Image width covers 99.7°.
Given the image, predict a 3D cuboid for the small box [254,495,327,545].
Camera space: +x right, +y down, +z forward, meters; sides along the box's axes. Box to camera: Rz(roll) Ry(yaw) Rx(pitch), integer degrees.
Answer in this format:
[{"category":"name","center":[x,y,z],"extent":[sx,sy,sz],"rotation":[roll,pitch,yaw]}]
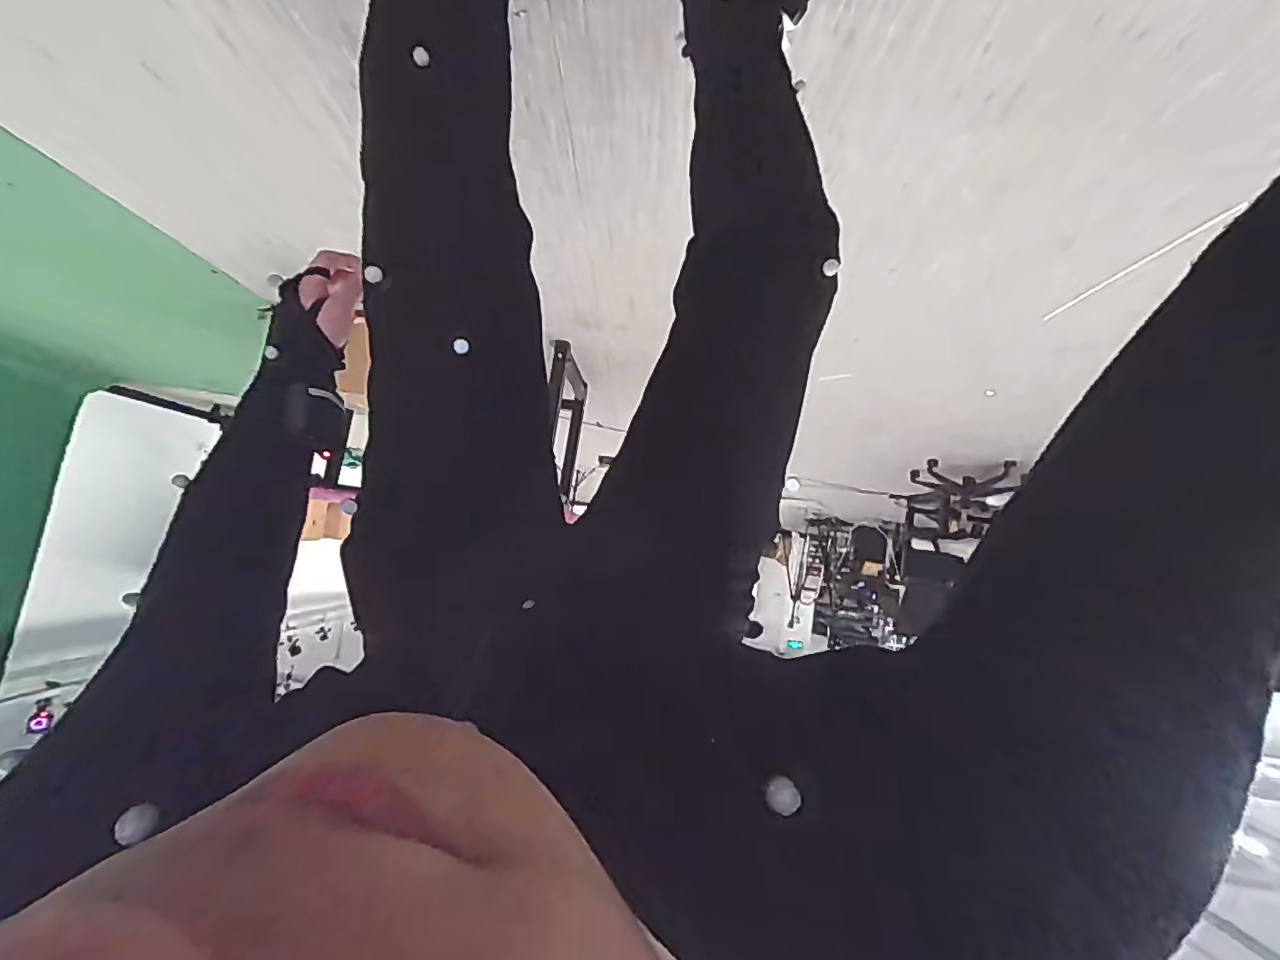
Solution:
[{"category":"small box","center":[-1.353,0.155,2.105],"extent":[0.168,0.176,0.179],"rotation":[7,175,-1]}]

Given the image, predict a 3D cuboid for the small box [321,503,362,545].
[{"category":"small box","center":[-1.373,0.194,2.417],"extent":[0.168,0.176,0.179],"rotation":[6,171,-1]}]
